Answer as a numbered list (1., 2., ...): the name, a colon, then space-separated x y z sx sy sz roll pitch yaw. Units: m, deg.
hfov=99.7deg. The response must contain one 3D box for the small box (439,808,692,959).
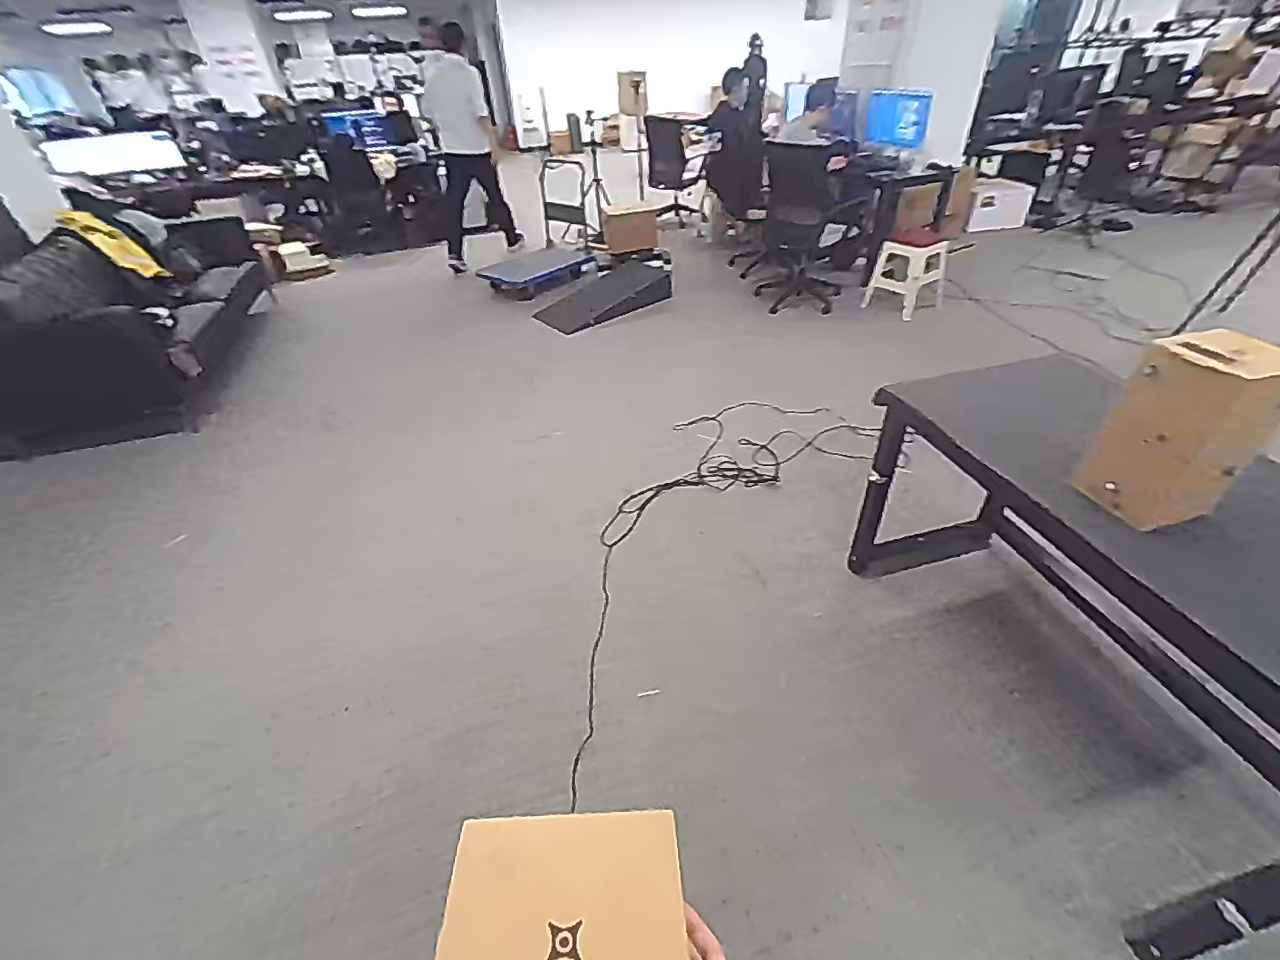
1. small box: -0.052 0.376 0.393 0.168 0.176 0.179 -1 30 -5

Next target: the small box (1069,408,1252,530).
1. small box: 1.032 -0.022 1.093 0.179 0.176 0.168 -11 39 -10
